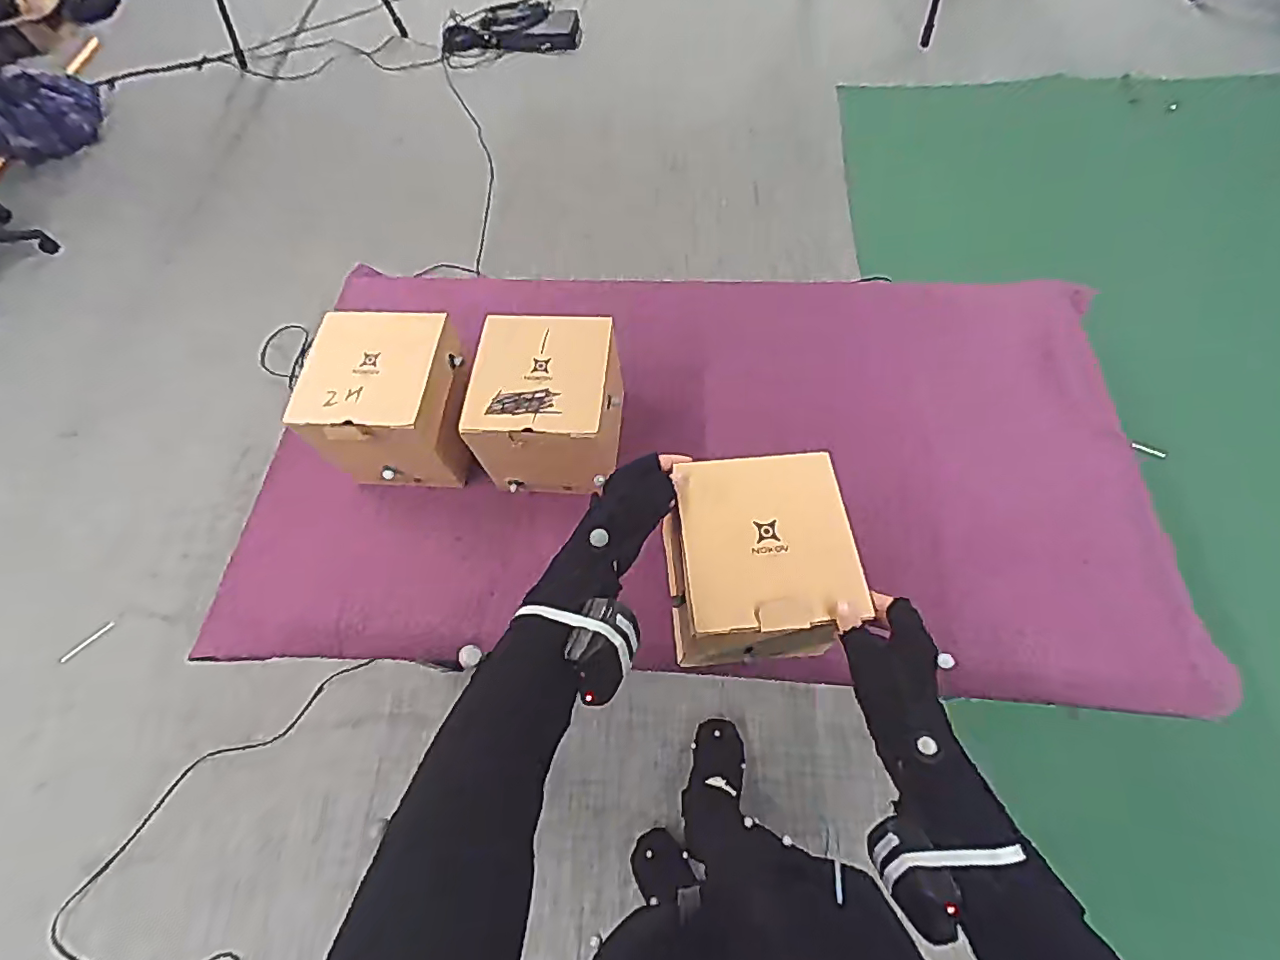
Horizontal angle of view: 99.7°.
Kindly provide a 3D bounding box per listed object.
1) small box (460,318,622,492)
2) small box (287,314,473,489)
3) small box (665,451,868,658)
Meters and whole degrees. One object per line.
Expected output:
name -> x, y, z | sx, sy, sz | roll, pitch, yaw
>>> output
small box -> -0.118, -0.094, 0.728 | 0.168, 0.176, 0.179 | 3, 64, 5
small box -> -0.331, -0.104, 0.747 | 0.168, 0.176, 0.179 | 2, 65, 5
small box -> 0.119, 0.087, 0.596 | 0.168, 0.176, 0.179 | -4, 63, -2
